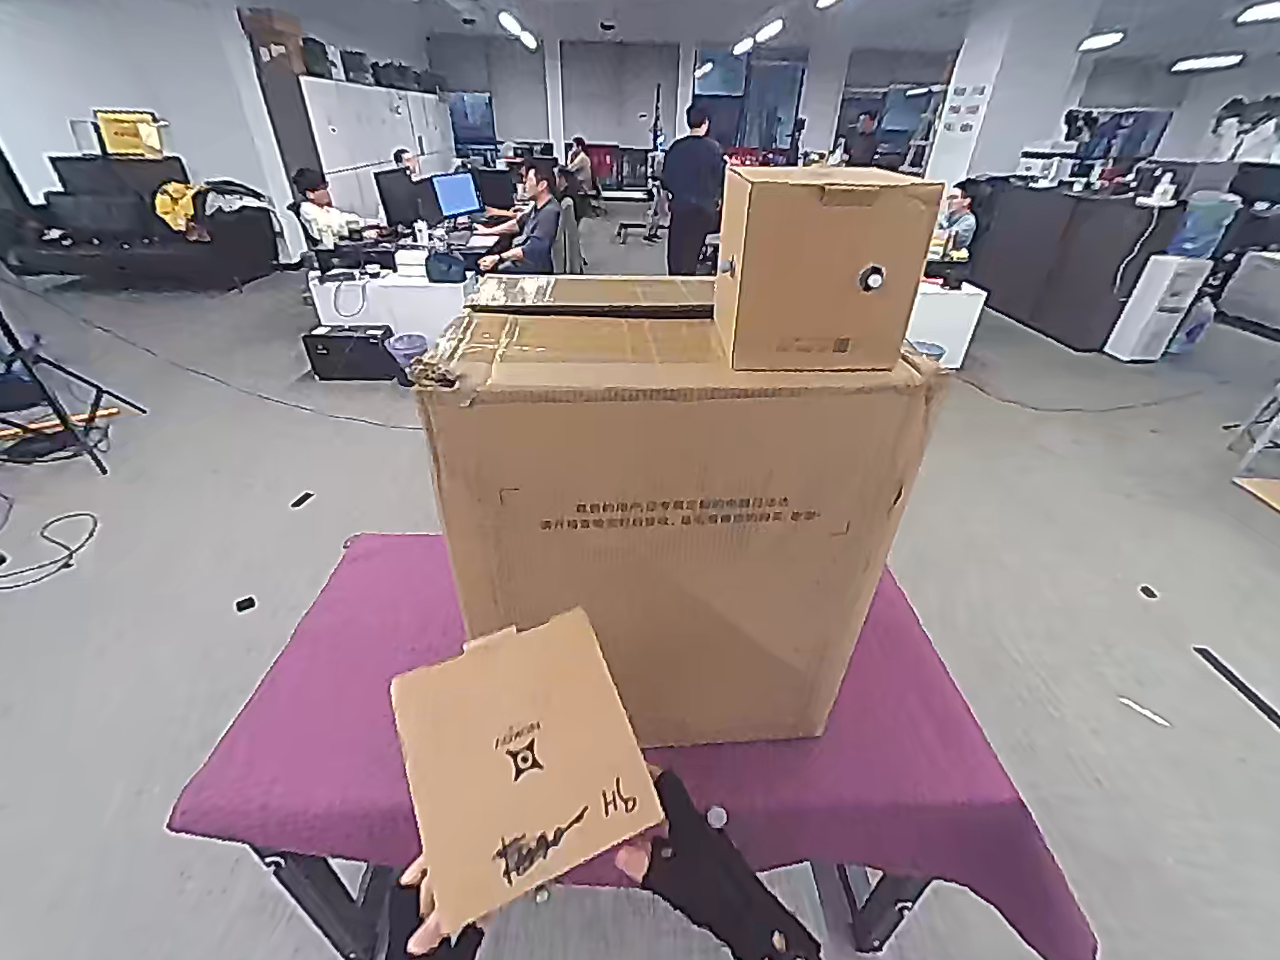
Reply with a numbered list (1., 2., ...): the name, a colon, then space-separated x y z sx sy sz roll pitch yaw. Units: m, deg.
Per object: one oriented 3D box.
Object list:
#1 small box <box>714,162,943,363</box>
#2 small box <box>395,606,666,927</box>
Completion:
1. small box: 0.172 -0.228 0.561 0.168 0.176 0.179 1 32 -1
2. small box: -0.095 0.244 0.479 0.168 0.176 0.179 -19 62 -16
